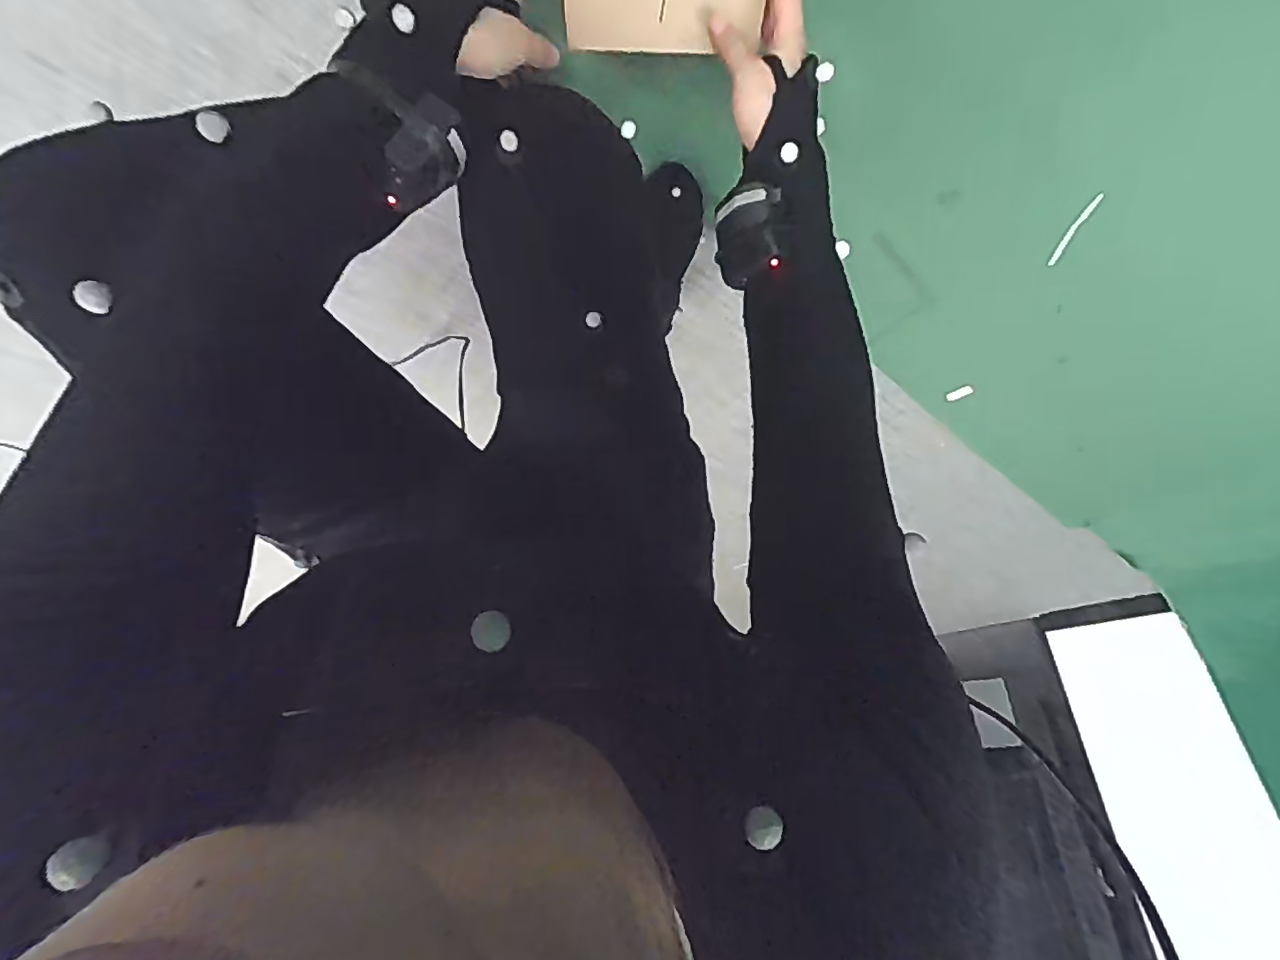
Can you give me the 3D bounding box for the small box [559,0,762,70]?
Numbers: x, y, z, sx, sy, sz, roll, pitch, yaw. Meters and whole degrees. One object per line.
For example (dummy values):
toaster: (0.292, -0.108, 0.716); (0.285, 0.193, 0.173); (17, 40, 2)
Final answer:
small box: (0.018, -0.473, 0.442); (0.168, 0.176, 0.179); (2, 147, 1)
